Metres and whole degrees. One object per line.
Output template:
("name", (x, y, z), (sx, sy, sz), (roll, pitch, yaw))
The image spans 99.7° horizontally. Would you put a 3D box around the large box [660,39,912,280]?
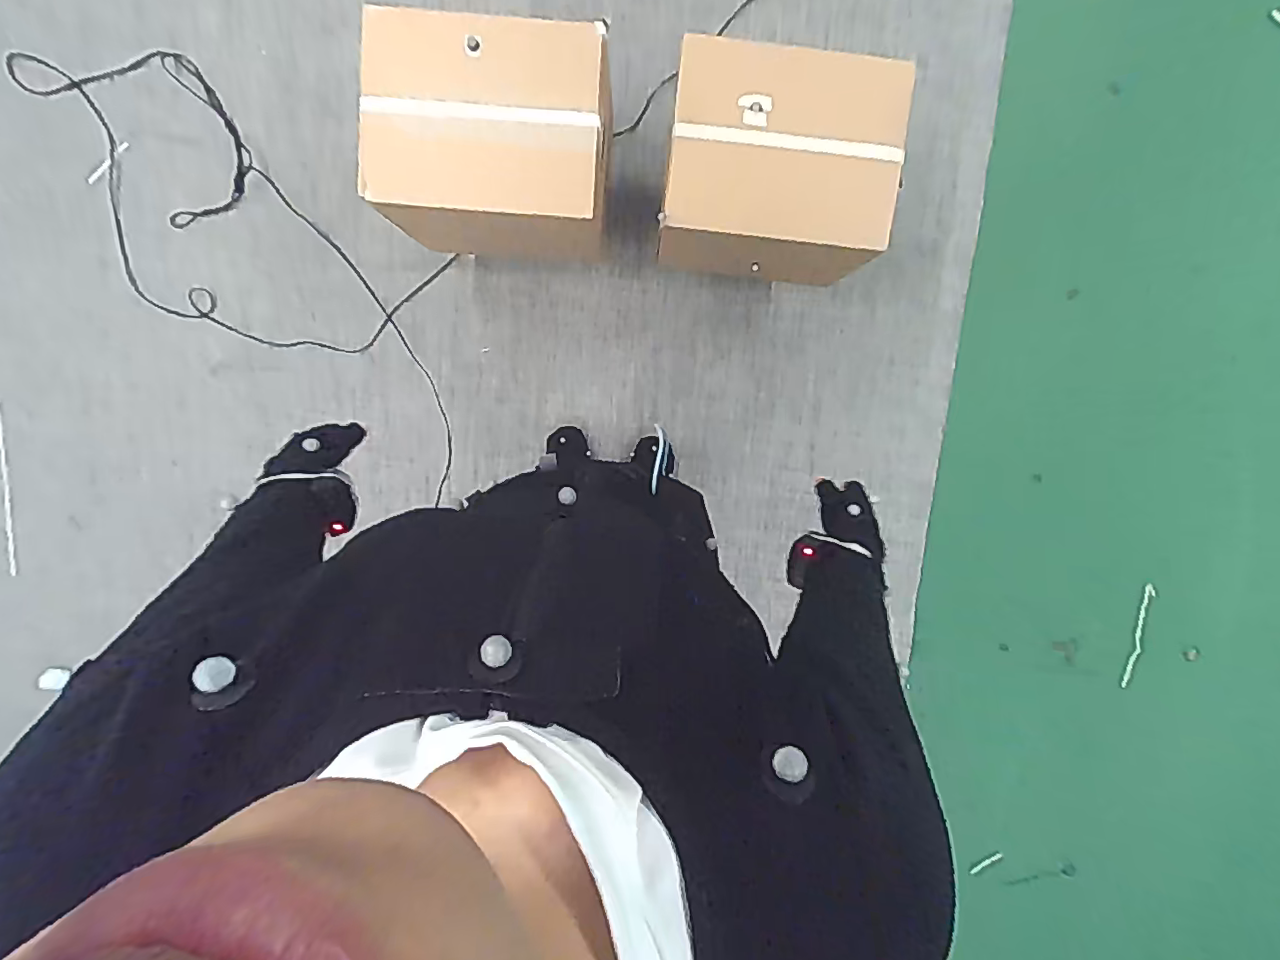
("large box", (0.261, -0.610, 1.097), (0.408, 0.320, 0.320), (6, 98, -1))
